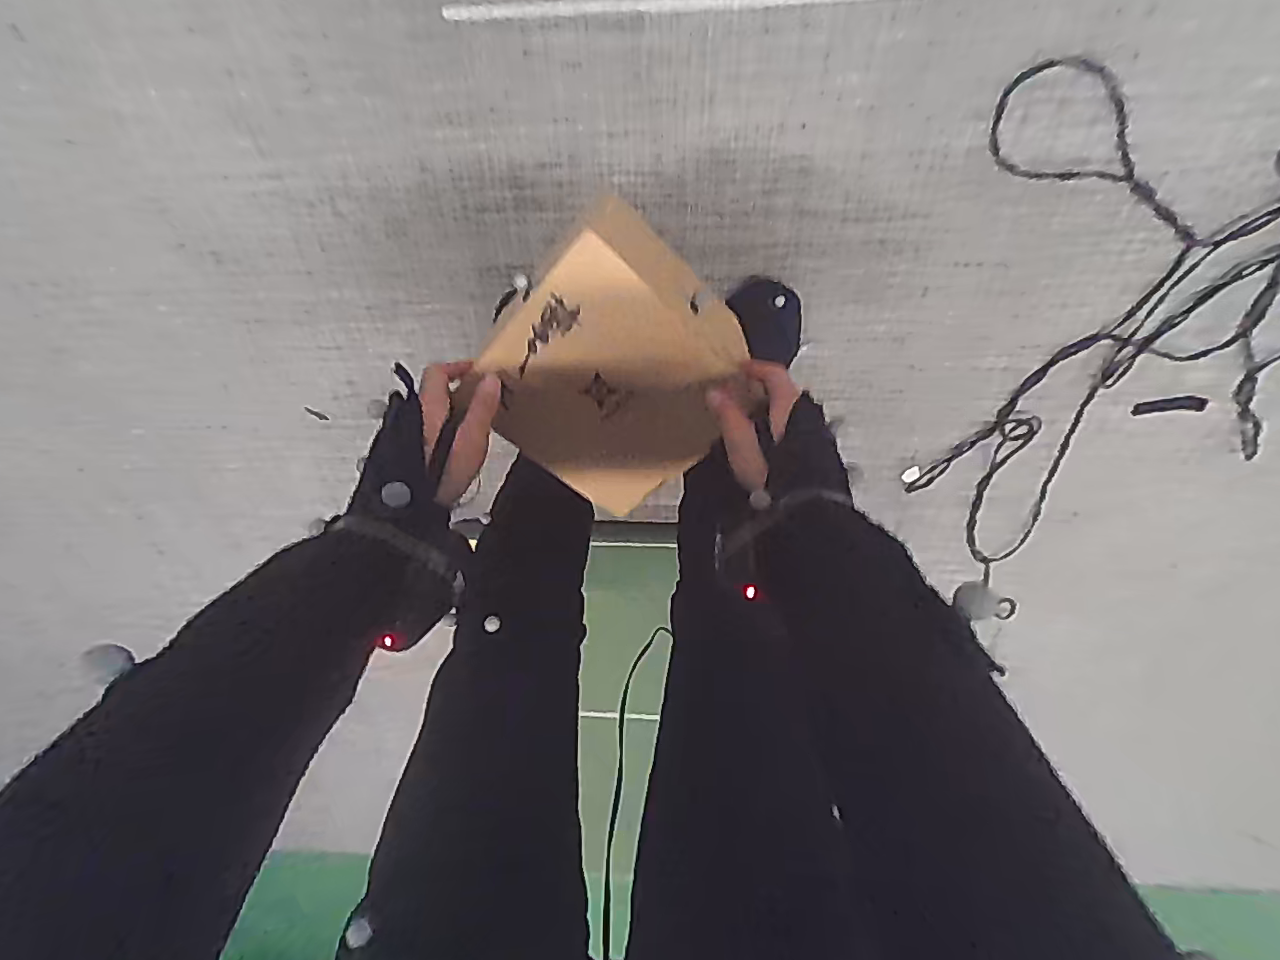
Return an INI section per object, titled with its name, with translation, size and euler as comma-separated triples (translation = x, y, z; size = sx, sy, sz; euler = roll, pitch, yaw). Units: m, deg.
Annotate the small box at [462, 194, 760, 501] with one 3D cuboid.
[small box]
translation = -0.021, -0.121, 0.481
size = 0.179, 0.176, 0.168
euler = 37, 119, -24
